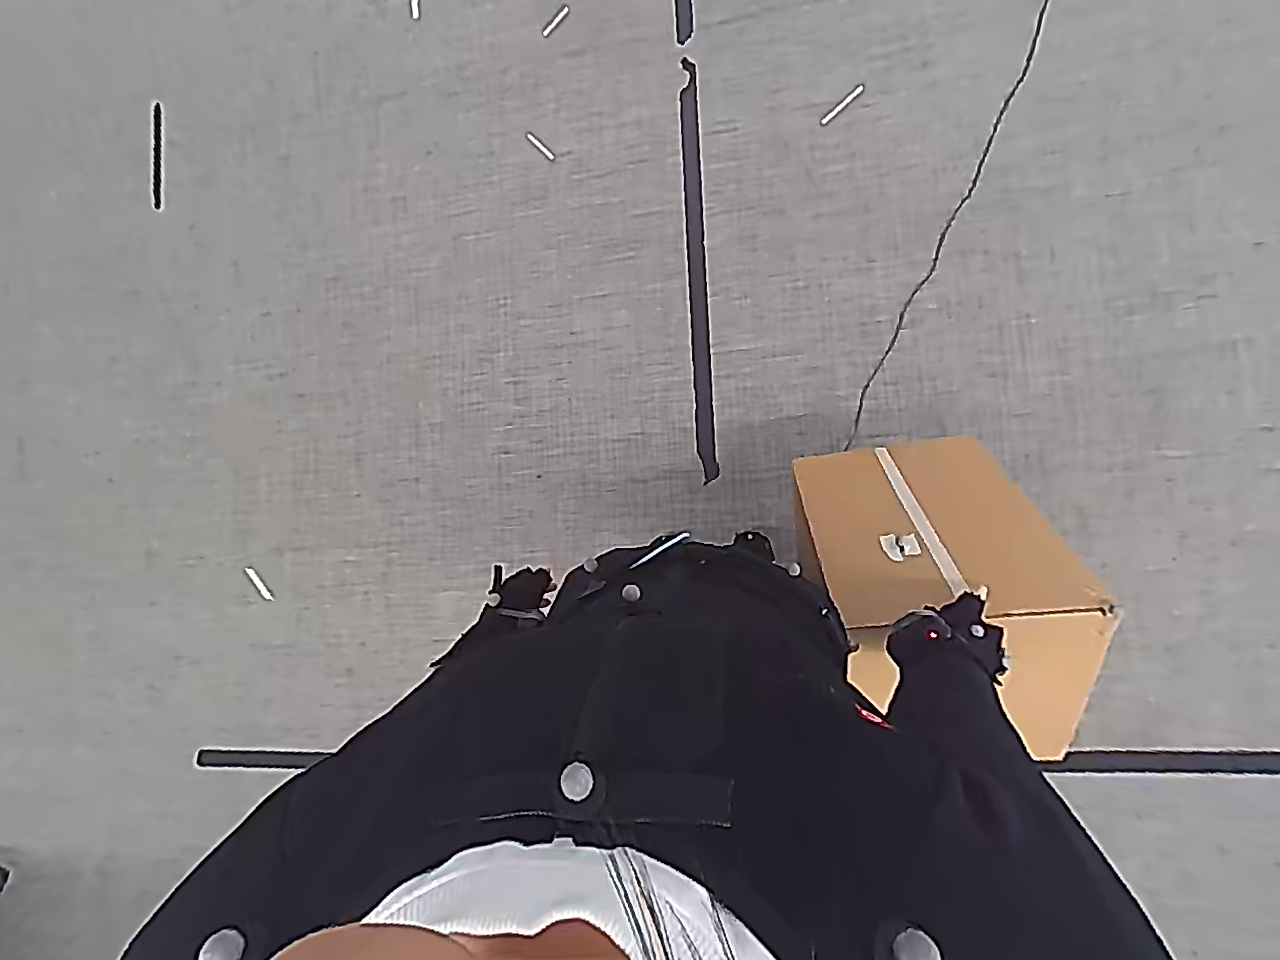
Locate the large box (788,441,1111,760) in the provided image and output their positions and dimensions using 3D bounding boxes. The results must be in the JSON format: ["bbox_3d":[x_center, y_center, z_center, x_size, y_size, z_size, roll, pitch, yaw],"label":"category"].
[{"bbox_3d":[0.440,0.183,0.891,0.320,0.408,0.320,-8,124,11],"label":"large box"}]
